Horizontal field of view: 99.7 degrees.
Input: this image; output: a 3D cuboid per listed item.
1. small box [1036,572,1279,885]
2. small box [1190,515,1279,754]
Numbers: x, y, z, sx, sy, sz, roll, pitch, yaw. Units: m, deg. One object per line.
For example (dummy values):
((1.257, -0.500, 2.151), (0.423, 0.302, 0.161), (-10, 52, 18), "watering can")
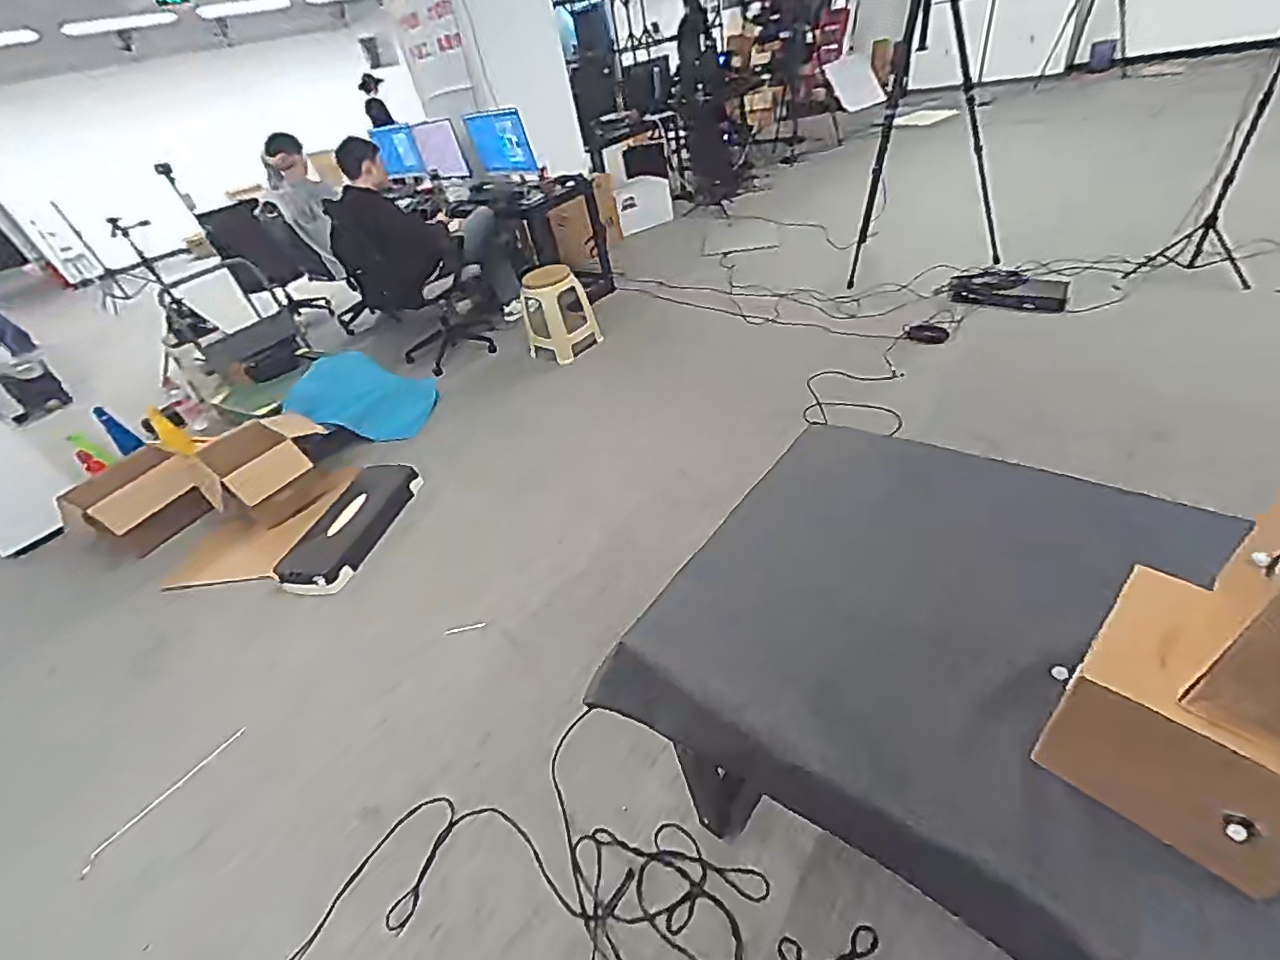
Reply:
((0.510, 0.225, 0.496), (0.168, 0.176, 0.179), (-36, 42, -27), "small box")
((0.539, 0.106, 0.374), (0.179, 0.176, 0.168), (-37, 45, -28), "small box")
